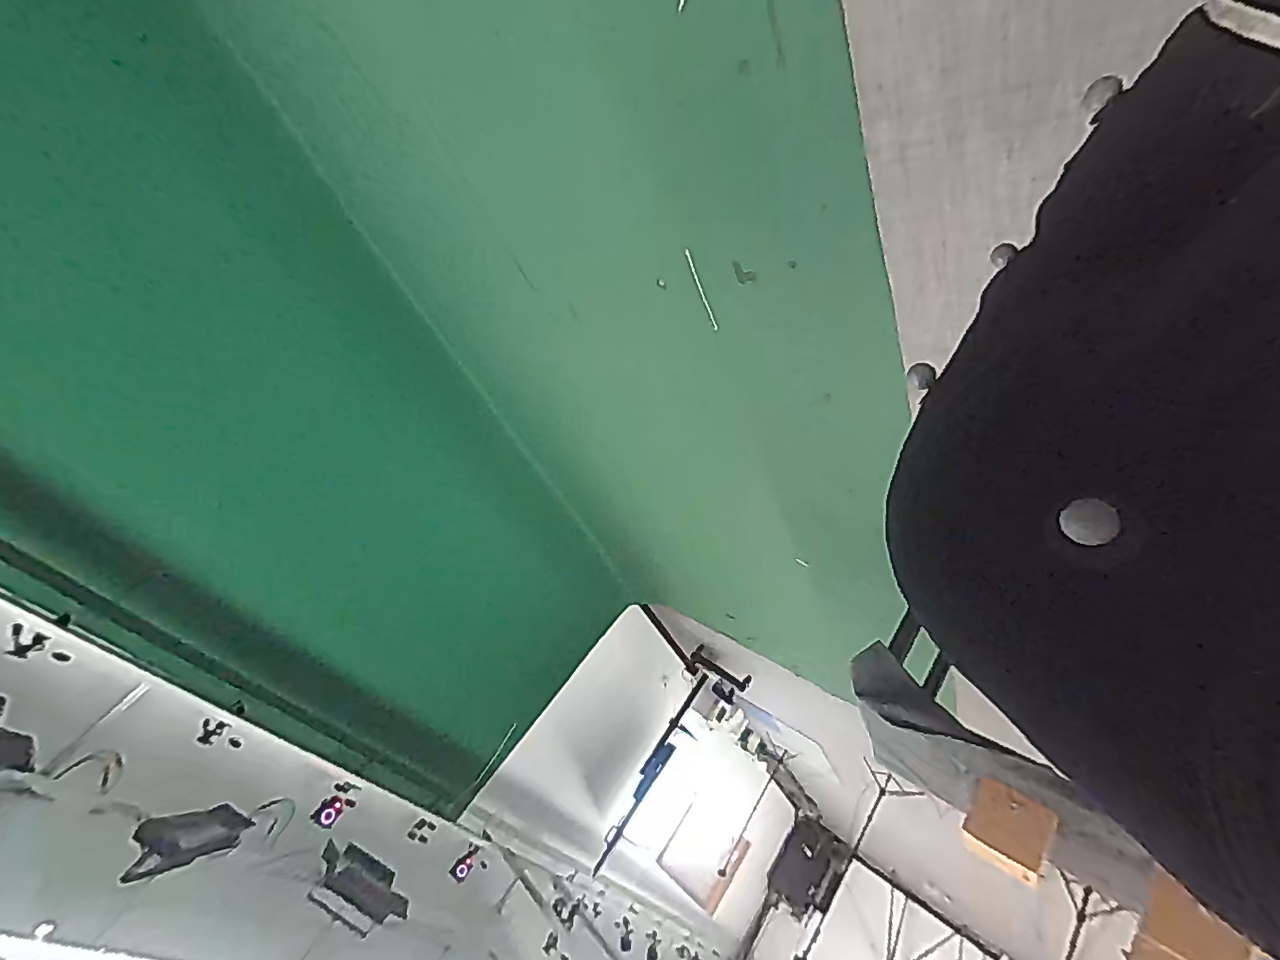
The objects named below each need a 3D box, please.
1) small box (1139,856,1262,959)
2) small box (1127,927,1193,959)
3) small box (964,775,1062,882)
[{"bbox_3d":[1.245,0.992,1.200,0.168,0.176,0.179,8,140,53],"label":"small box"},{"bbox_3d":[1.151,1.116,1.151,0.179,0.176,0.168,13,144,51],"label":"small box"},{"bbox_3d":[1.014,0.939,1.476,0.179,0.176,0.168,18,149,45],"label":"small box"}]
